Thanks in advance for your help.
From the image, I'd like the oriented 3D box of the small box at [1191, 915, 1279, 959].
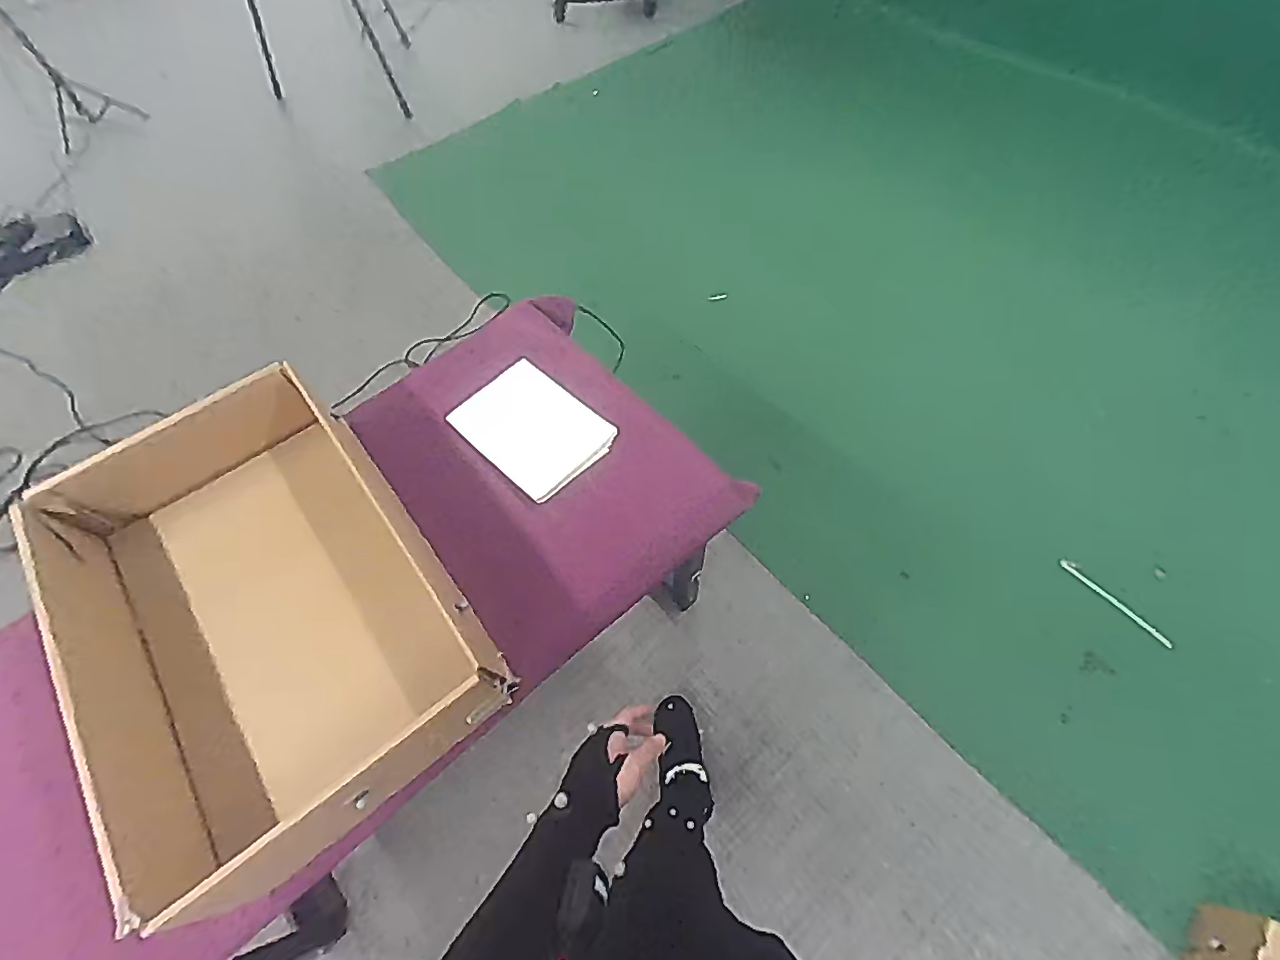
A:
[{"bbox_3d":[1.248,1.006,1.064,0.179,0.176,0.168,34,67,19],"label":"small box"}]
